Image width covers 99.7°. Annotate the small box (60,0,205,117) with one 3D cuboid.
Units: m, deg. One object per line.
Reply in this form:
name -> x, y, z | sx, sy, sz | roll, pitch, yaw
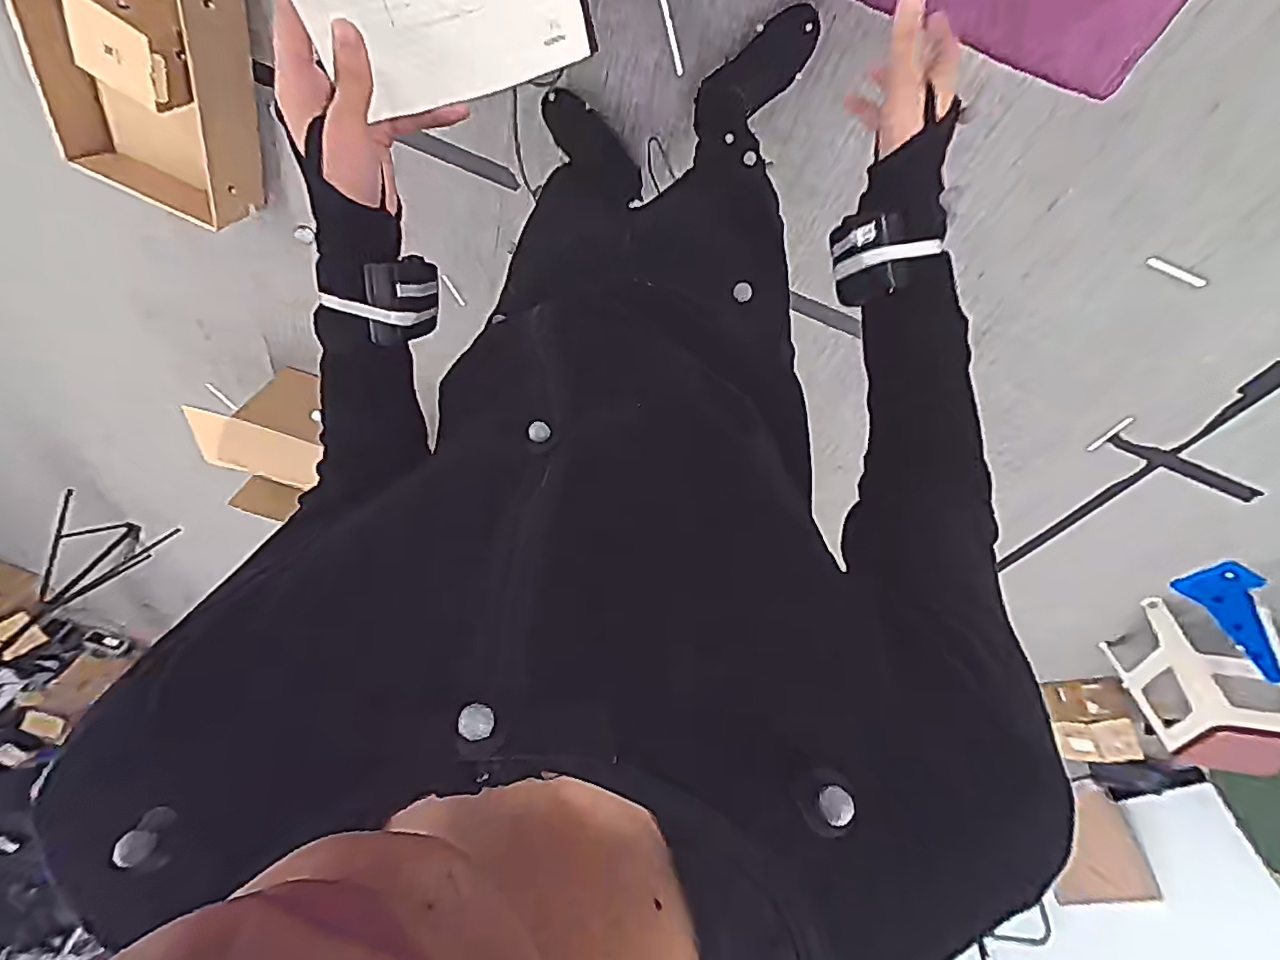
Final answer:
small box -> -1.118, -0.968, 1.212 | 0.179, 0.176, 0.168 | 30, 135, -15
